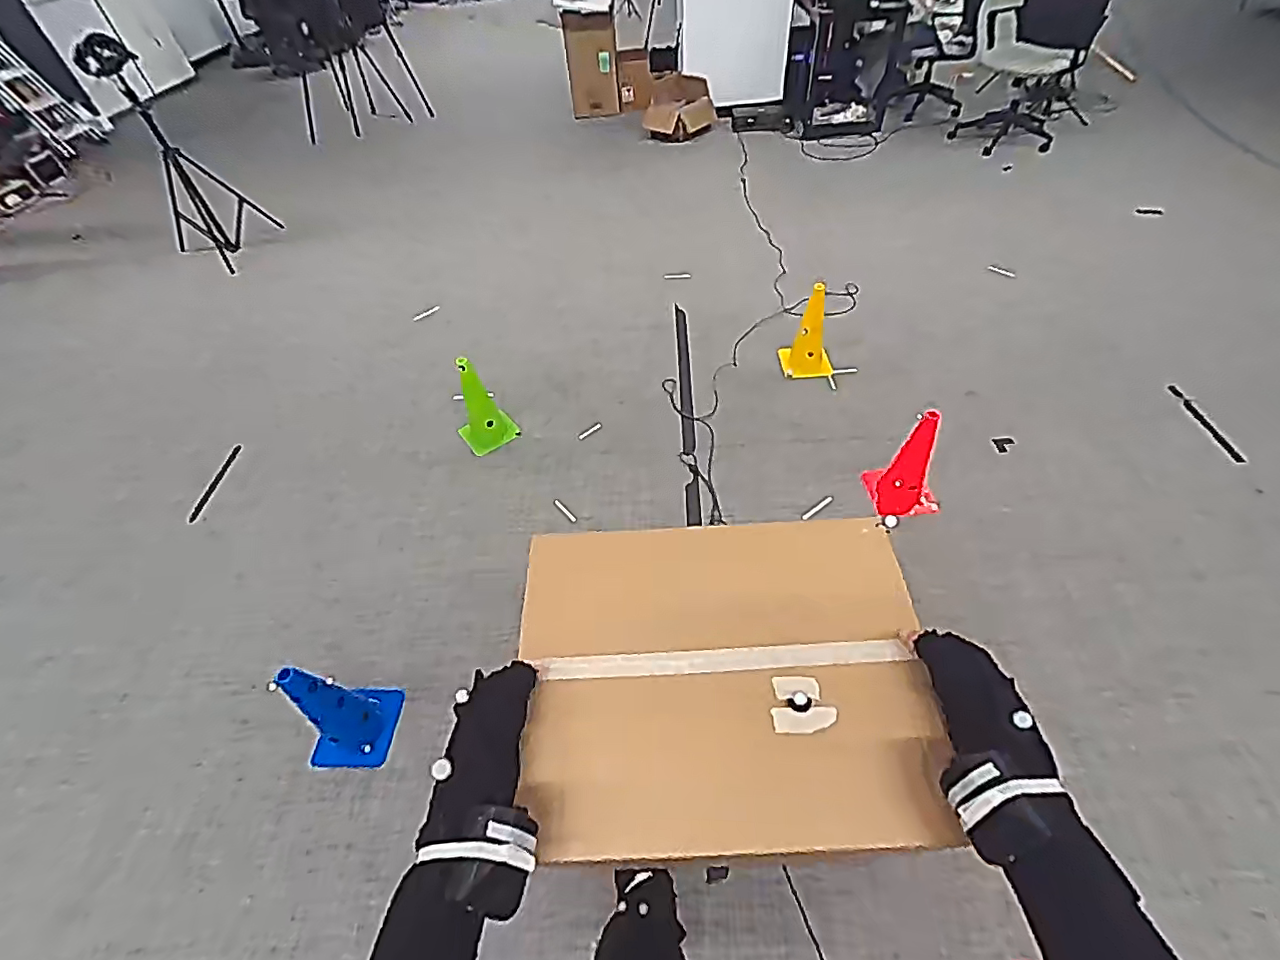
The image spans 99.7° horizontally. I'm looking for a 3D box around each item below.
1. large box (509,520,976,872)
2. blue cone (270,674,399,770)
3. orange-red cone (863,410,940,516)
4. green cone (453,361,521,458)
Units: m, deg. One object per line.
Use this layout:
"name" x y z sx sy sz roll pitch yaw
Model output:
"large box" 0.085 0.271 0.659 0.408 0.320 0.320 -3 53 1
"blue cone" -0.769 0.565 1.326 0.192 0.380 0.193 -1 48 6
"orange-red cone" 0.861 -0.074 1.697 0.198 0.360 0.199 -4 47 1
"green cone" -0.620 -0.296 2.045 0.202 0.368 0.200 -33 53 -20
